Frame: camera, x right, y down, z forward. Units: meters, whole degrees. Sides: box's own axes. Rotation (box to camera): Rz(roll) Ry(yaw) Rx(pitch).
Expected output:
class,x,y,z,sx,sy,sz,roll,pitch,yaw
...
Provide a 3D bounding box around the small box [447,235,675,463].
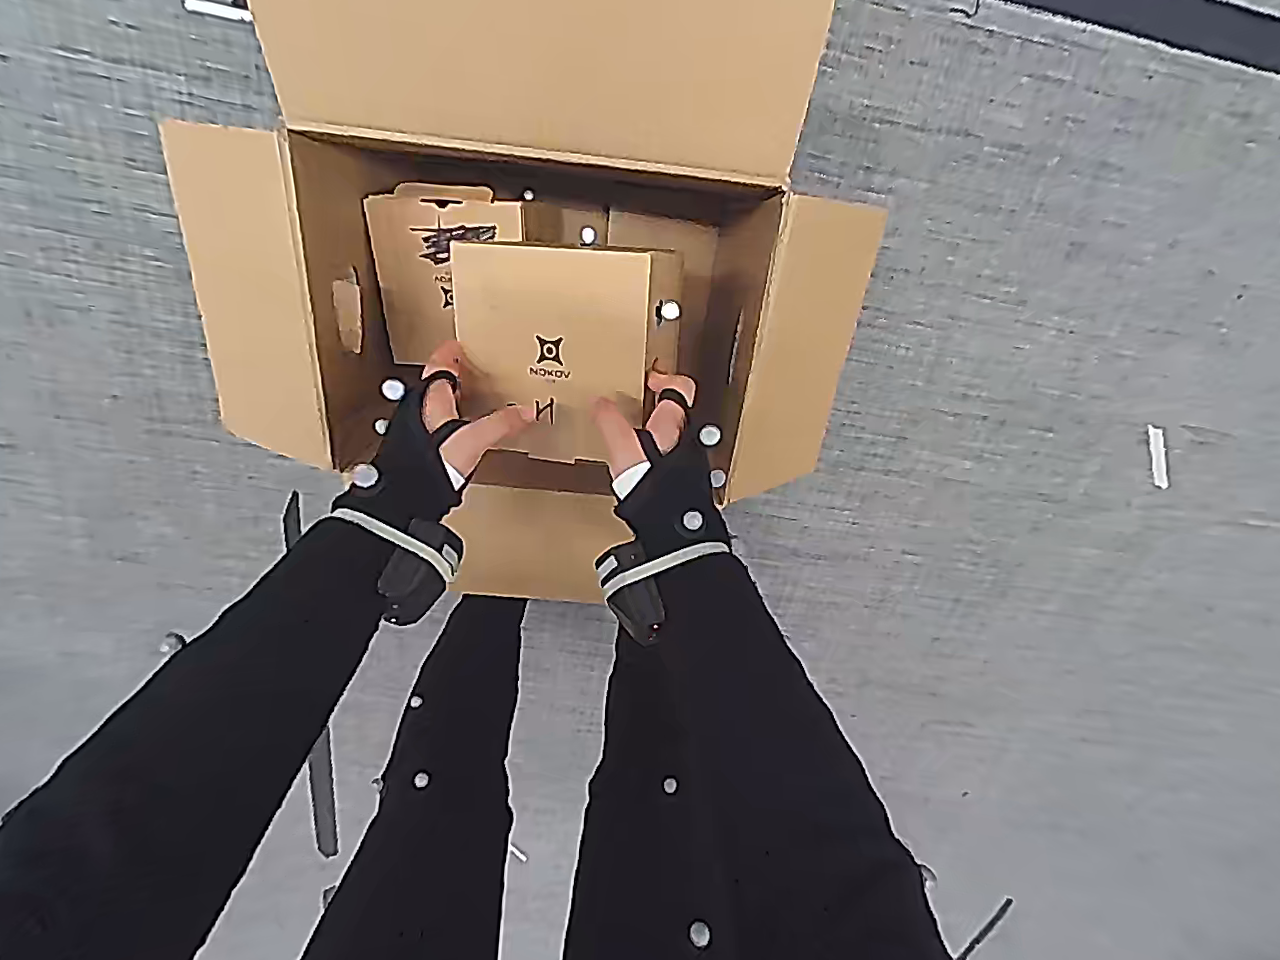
class,x,y,z,sx,sy,sz,roll,pitch,yaw
small box,-0.063,-0.136,0.523,0.168,0.176,0.179,8,115,11
